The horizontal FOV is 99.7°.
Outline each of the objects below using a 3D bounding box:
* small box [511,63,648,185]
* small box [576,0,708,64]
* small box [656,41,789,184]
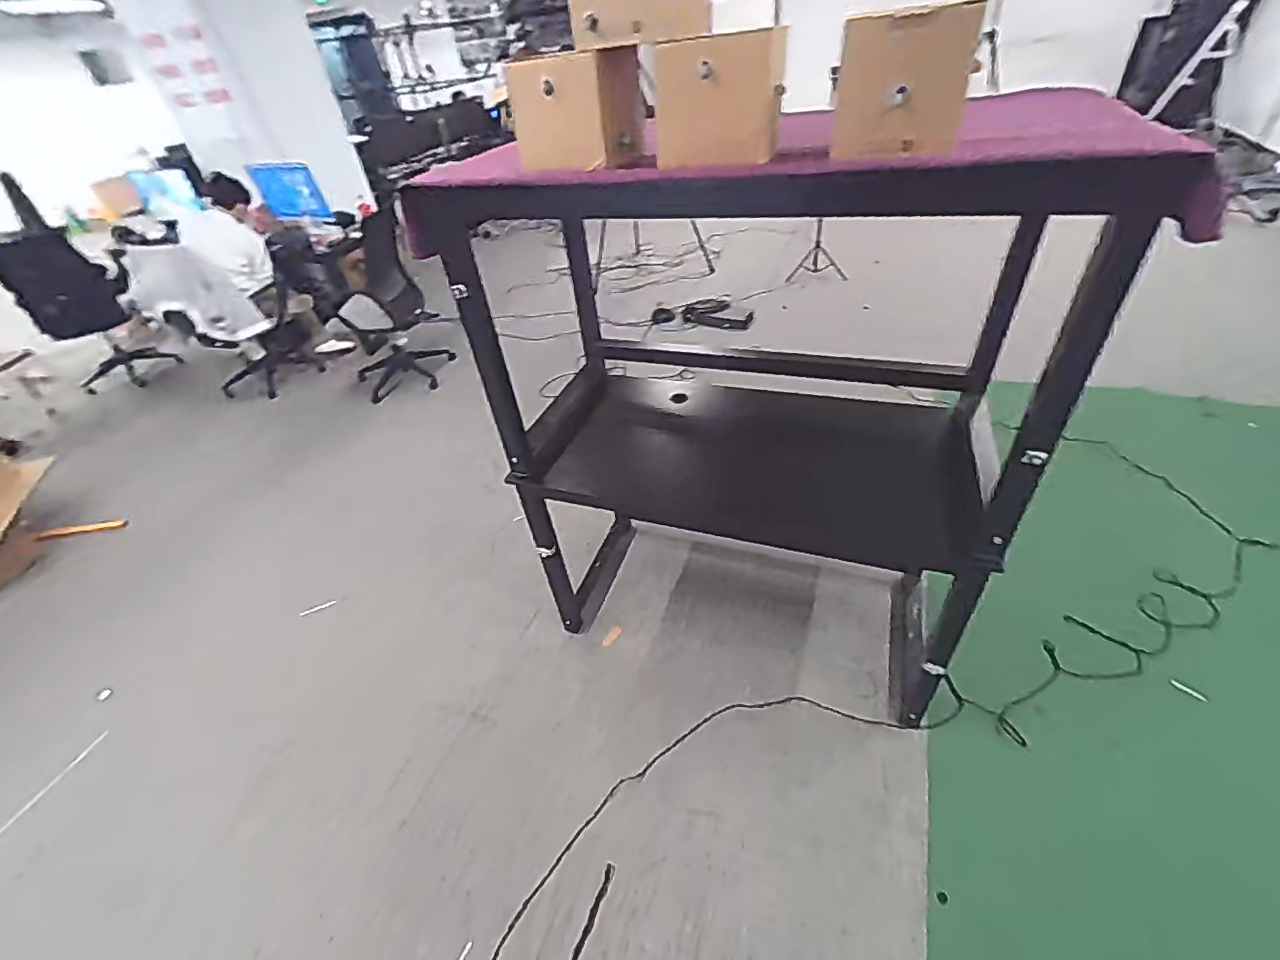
[{"bbox_3d":[-0.099,-0.637,0.970,0.179,0.176,0.168,13,43,23],"label":"small box"},{"bbox_3d":[0.007,-0.752,0.835,0.168,0.176,0.179,10,40,20],"label":"small box"},{"bbox_3d":[0.139,-0.596,0.882,0.179,0.176,0.168,8,40,19],"label":"small box"}]
